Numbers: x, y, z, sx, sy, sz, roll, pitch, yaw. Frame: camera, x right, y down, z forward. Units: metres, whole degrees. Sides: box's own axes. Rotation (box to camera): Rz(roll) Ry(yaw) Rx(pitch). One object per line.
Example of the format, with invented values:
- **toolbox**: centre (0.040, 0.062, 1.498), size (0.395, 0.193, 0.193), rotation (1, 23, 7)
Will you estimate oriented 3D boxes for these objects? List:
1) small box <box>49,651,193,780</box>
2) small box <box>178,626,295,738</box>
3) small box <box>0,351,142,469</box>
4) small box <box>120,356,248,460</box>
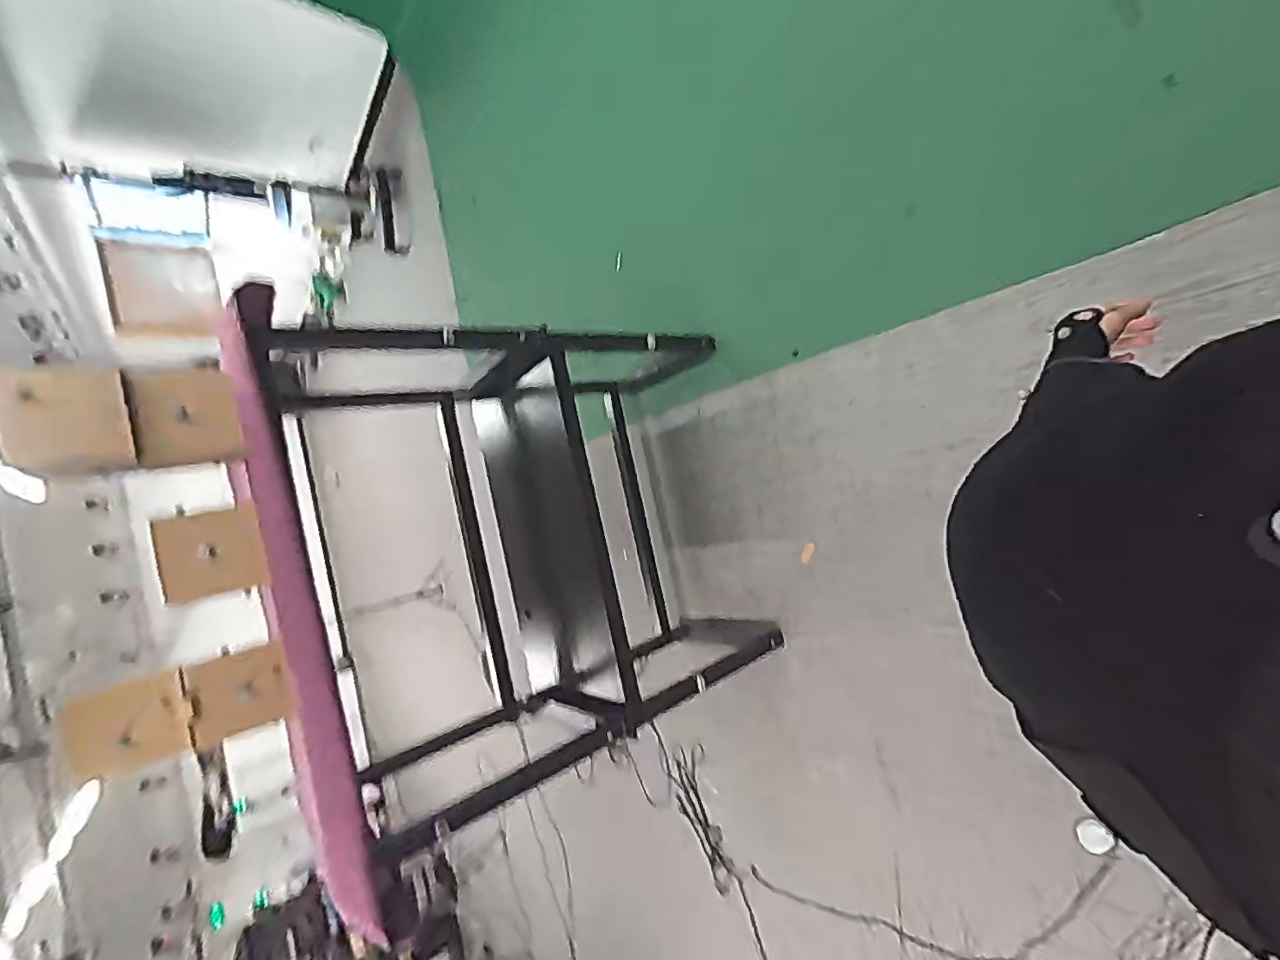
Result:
- **small box**: centre (-0.955, 0.430, 1.018), size (0.179, 0.176, 0.168), rotation (-24, 80, 53)
- **small box**: centre (-0.830, 0.407, 1.122), size (0.179, 0.176, 0.168), rotation (-20, 82, 51)
- **small box**: centre (-1.044, -0.126, 0.993), size (0.168, 0.176, 0.179), rotation (-14, 89, 52)
- **small box**: centre (-0.931, -0.147, 1.112), size (0.168, 0.176, 0.179), rotation (-13, 90, 51)
